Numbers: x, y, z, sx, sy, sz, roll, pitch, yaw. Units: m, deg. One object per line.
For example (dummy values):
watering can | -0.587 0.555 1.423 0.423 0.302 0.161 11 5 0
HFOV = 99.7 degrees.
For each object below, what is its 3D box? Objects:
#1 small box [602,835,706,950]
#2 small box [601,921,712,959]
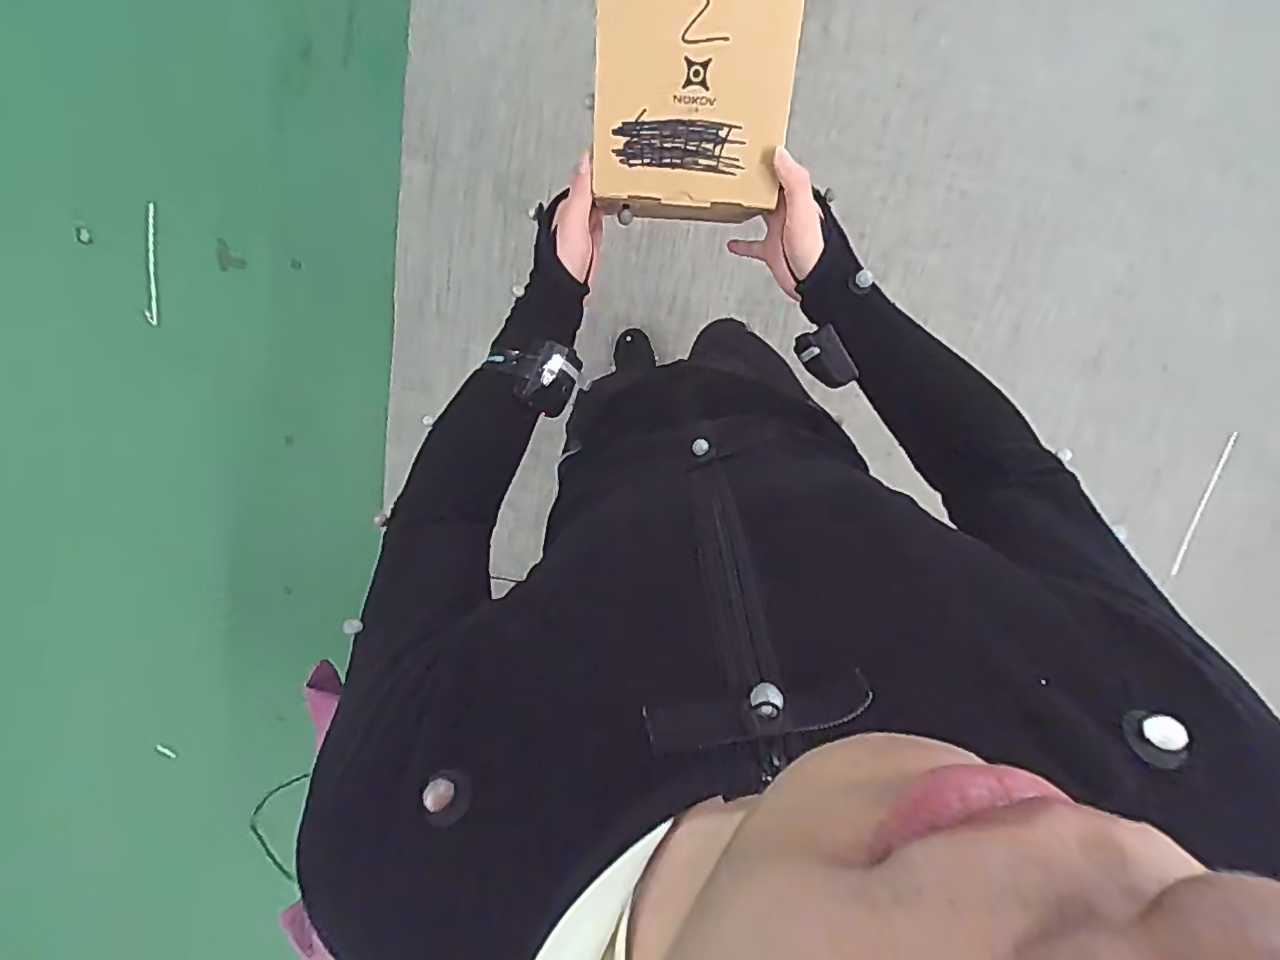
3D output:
small box | 0.019 0.803 1.007 0.168 0.176 0.179 7 105 -3
small box | 0.022 0.840 0.848 0.179 0.176 0.168 7 103 -2
